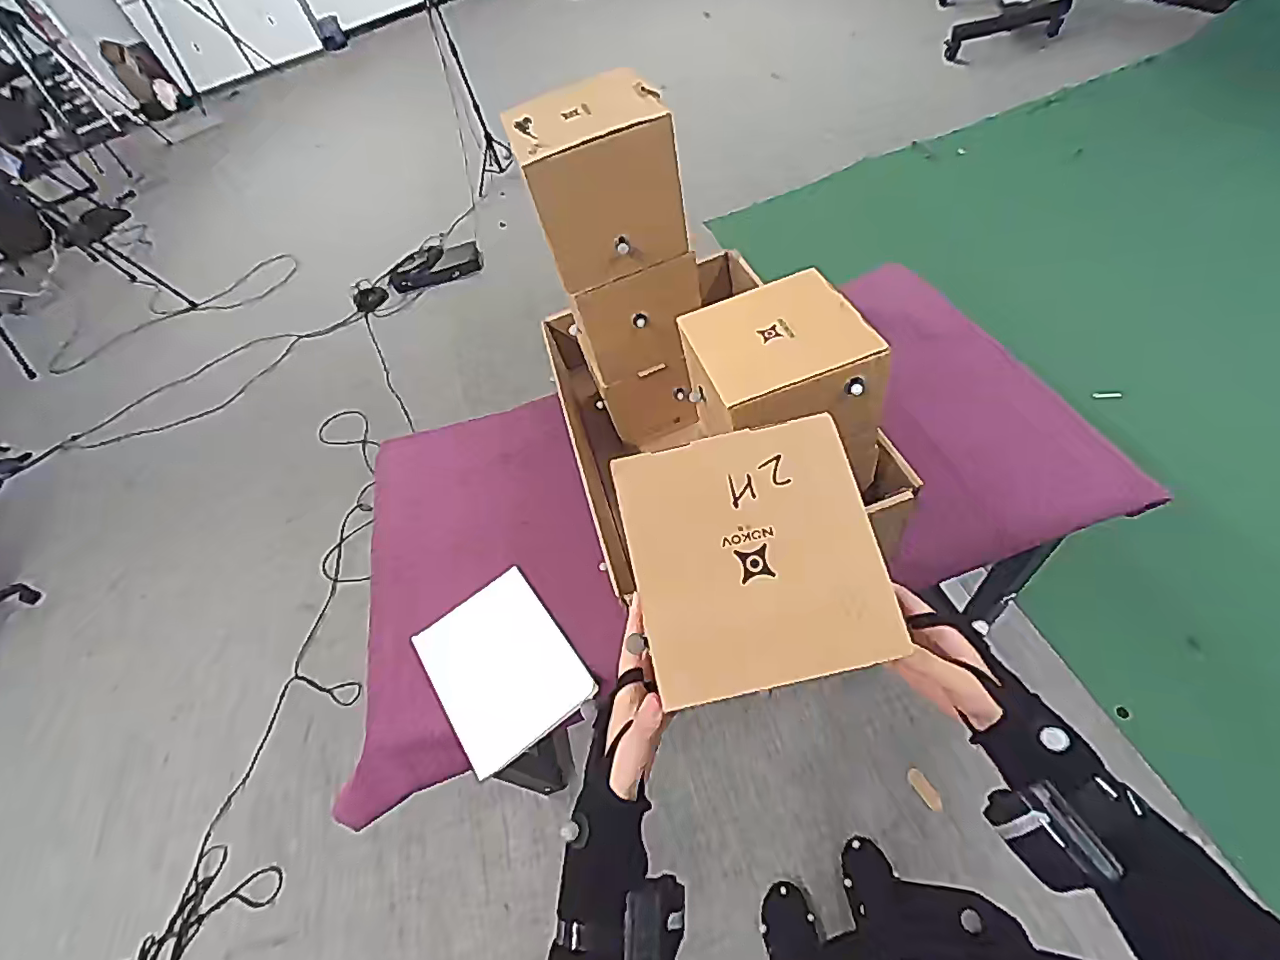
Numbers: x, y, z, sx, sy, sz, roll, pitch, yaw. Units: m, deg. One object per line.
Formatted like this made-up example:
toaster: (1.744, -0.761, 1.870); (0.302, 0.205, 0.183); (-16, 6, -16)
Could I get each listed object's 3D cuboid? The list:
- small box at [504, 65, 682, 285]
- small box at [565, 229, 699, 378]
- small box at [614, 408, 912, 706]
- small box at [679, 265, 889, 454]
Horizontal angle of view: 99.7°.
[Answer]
small box: (-0.052, -0.383, 0.690); (0.179, 0.176, 0.168); (-20, 53, -2)
small box: (-0.017, -0.288, 0.820); (0.179, 0.176, 0.168); (-22, 53, -2)
small box: (0.082, 0.067, 0.439); (0.168, 0.176, 0.179); (-12, 73, -1)
small box: (0.163, -0.116, 0.642); (0.179, 0.176, 0.168); (-20, 51, 0)
